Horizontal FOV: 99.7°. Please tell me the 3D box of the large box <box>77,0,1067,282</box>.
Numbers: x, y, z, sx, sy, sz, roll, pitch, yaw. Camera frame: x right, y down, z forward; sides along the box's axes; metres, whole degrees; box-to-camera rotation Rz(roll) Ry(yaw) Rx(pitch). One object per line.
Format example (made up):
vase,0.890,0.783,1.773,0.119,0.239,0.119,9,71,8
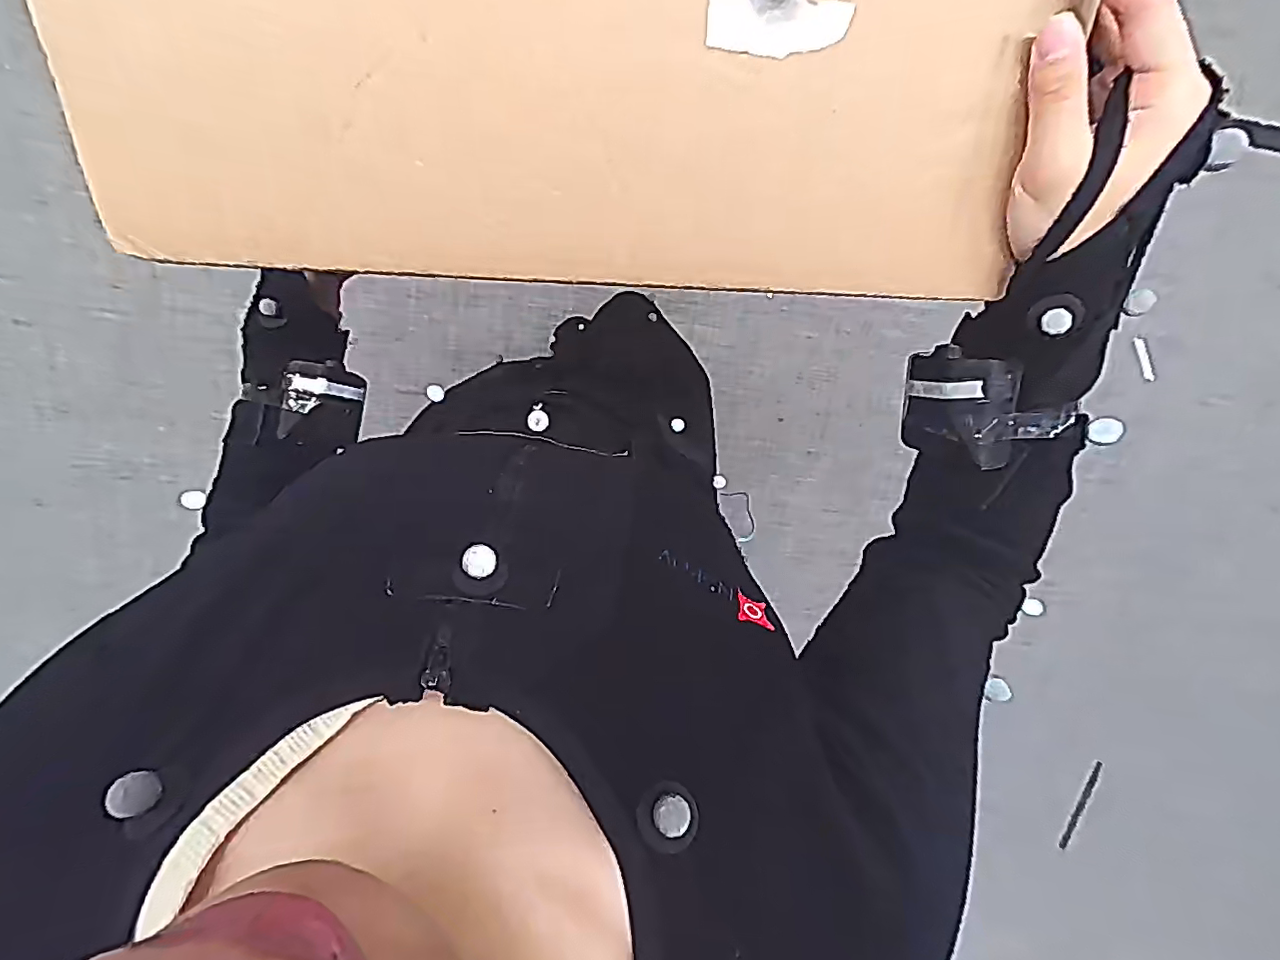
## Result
large box,-0.028,-0.299,0.336,0.408,0.320,0.320,0,114,-7
